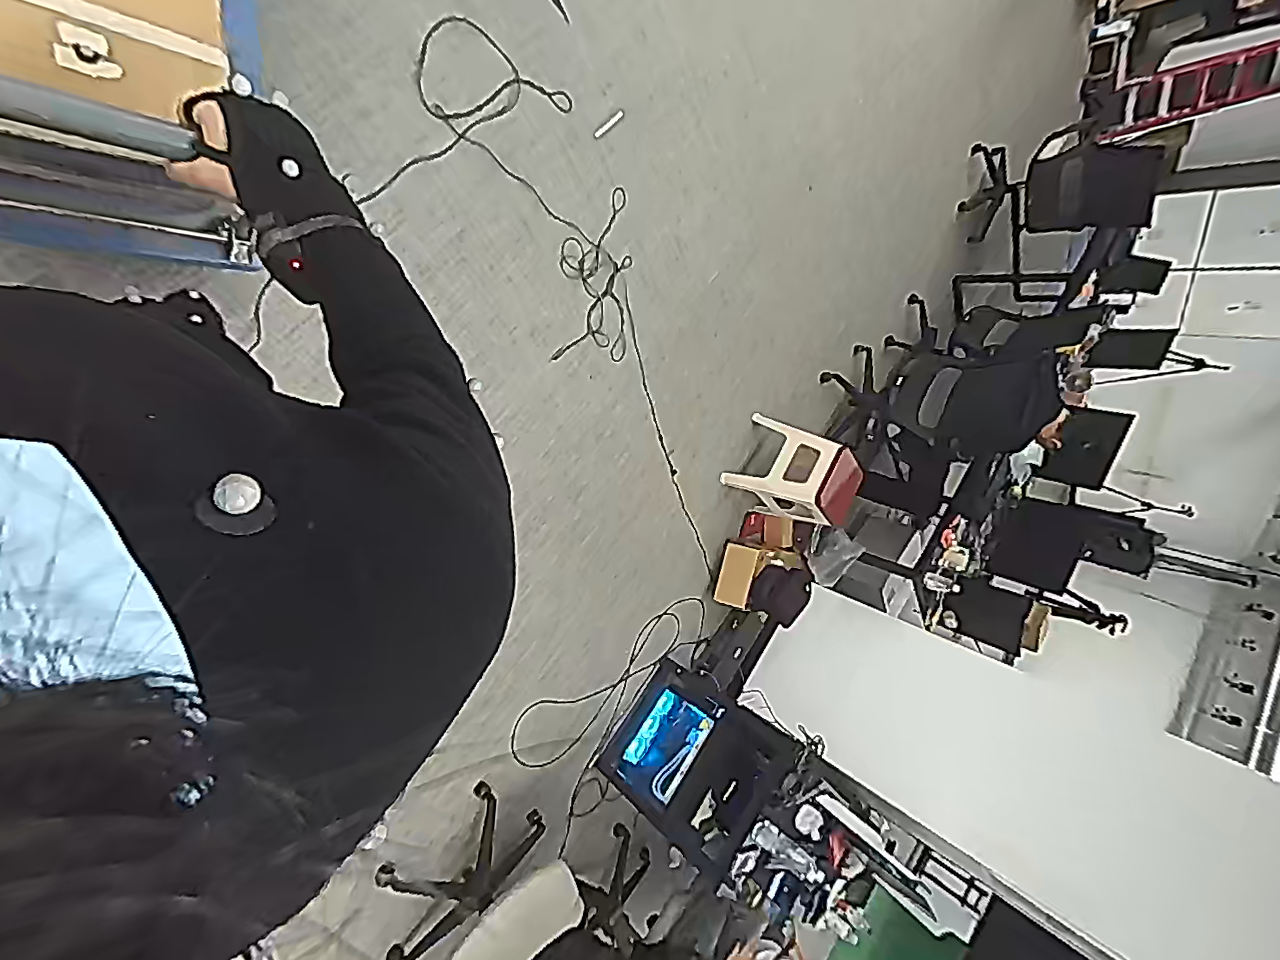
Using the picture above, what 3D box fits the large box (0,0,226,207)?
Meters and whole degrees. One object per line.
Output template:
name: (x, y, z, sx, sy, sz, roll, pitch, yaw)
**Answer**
large box: (-0.819, -0.580, 0.697, 0.408, 0.320, 0.320, -7, 110, -44)
